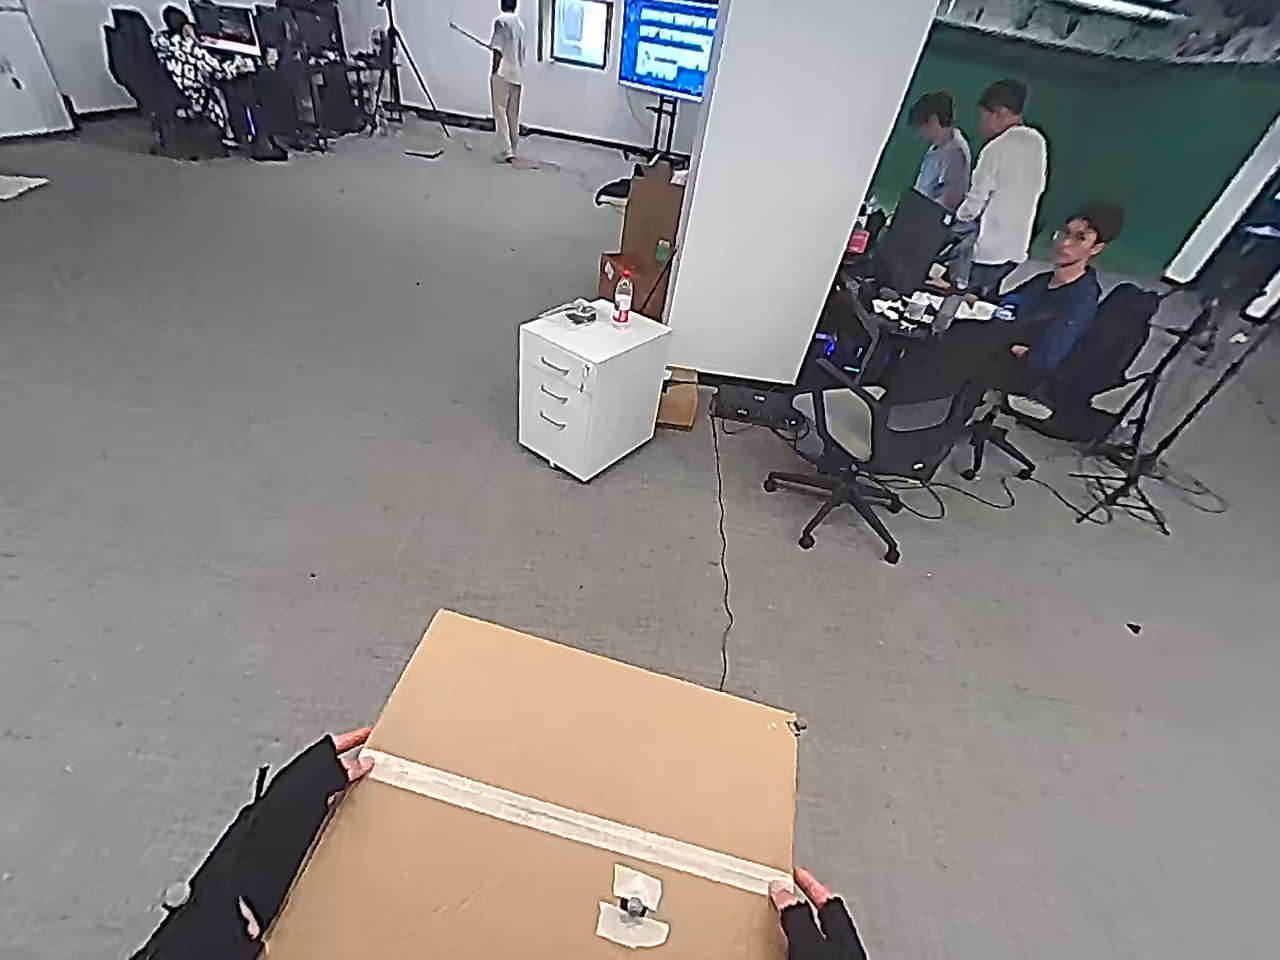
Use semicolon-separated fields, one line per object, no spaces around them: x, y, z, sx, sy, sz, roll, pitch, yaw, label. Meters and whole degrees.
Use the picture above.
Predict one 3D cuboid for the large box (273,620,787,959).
-0.087;0.412;0.610;0.408;0.320;0.320;17;48;1;large box
